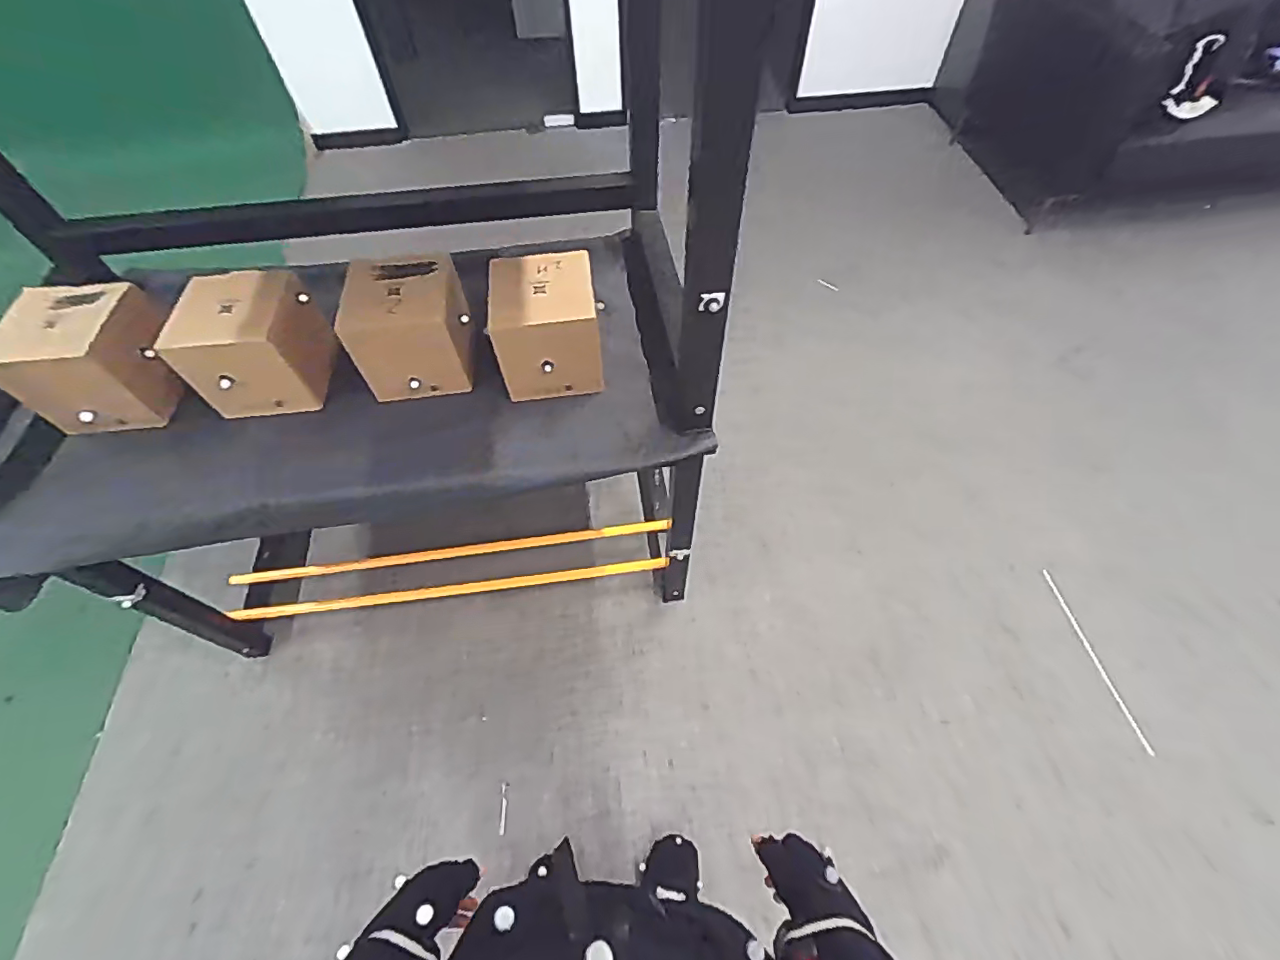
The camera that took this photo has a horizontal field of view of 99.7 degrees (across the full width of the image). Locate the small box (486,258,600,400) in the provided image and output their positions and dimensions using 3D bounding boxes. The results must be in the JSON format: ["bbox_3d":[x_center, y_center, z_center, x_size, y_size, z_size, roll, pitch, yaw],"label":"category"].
[{"bbox_3d":[-0.162,-0.252,0.933,0.168,0.176,0.179,-7,56,-4],"label":"small box"}]

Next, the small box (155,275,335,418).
[{"bbox_3d":[-0.650,-0.219,0.920,0.168,0.176,0.179,-6,56,-4],"label":"small box"}]

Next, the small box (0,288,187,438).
[{"bbox_3d":[-0.901,-0.193,0.901,0.168,0.176,0.179,-6,57,-3],"label":"small box"}]
